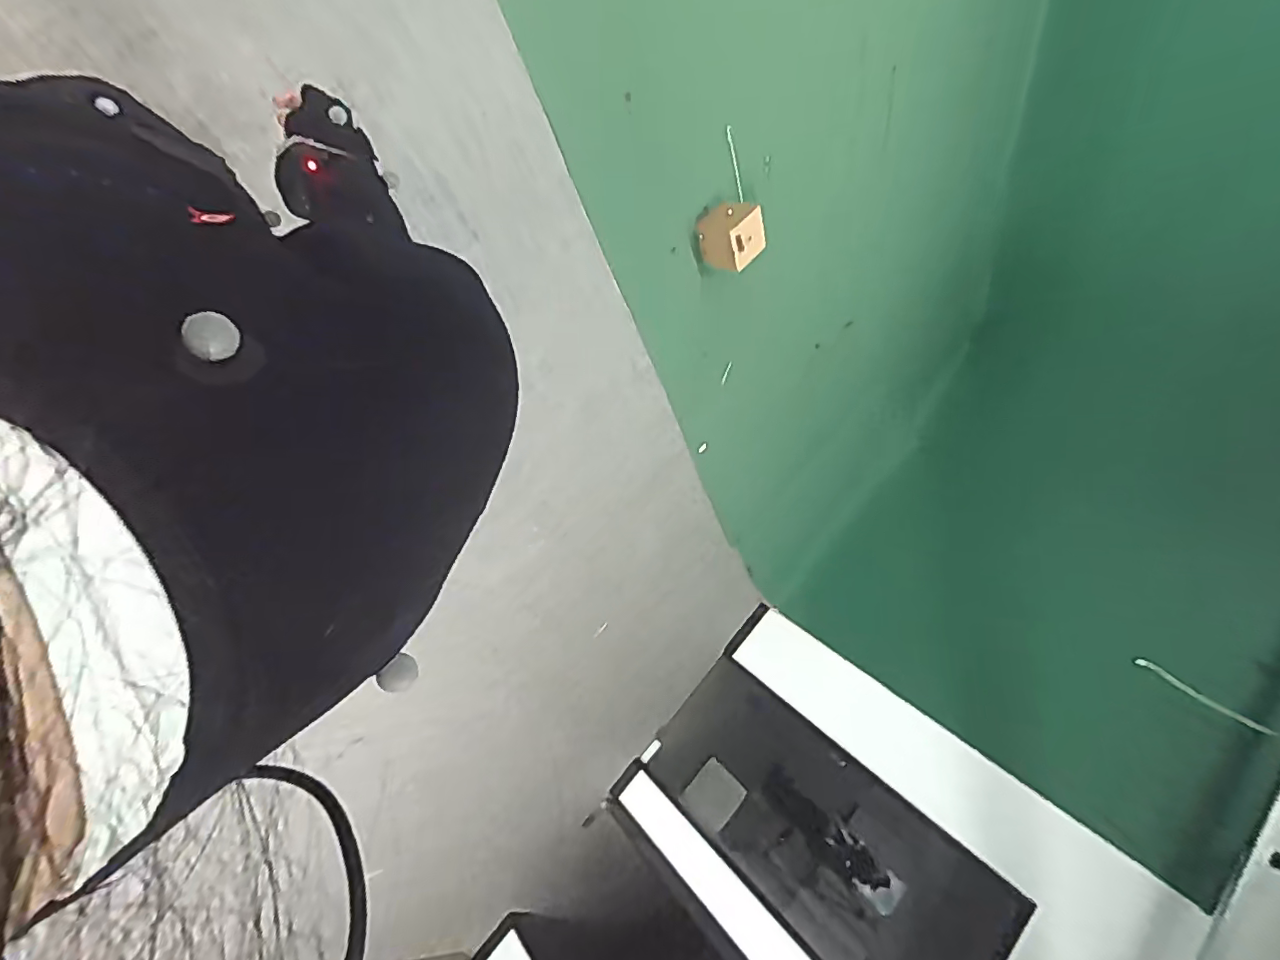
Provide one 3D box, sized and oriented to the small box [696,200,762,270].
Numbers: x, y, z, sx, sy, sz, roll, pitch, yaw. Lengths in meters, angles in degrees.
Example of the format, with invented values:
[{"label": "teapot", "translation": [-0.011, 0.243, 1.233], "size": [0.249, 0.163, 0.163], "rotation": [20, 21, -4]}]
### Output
[{"label": "small box", "translation": [0.325, -0.913, 2.007], "size": [0.179, 0.176, 0.168], "rotation": [-46, 141, -15]}]
